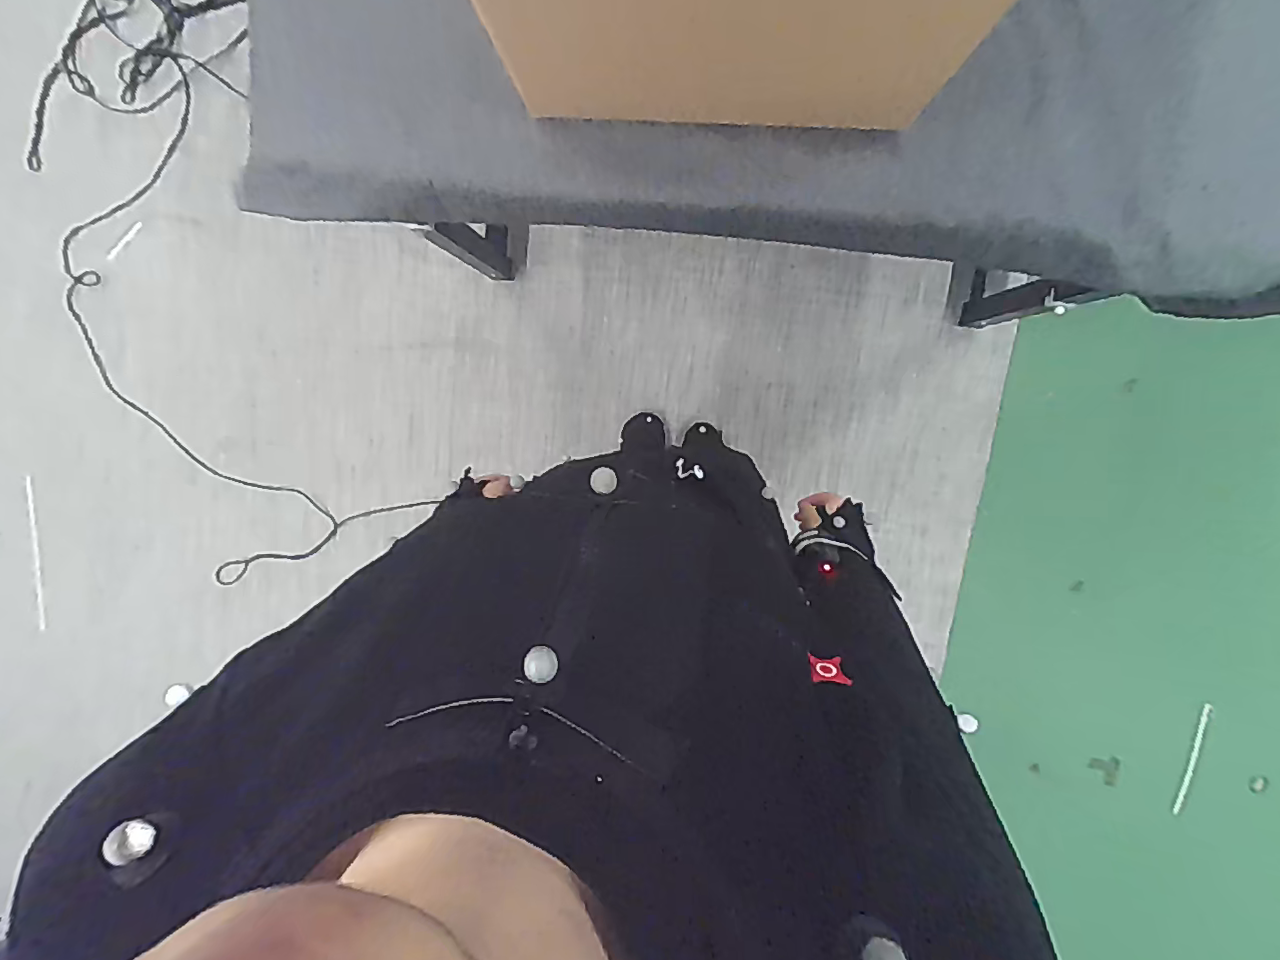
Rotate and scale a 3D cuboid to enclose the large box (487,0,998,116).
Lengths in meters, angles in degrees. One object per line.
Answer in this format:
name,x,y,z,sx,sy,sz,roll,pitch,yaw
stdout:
large box,0.079,-0.518,0.408,0.408,0.320,0.320,3,100,2
